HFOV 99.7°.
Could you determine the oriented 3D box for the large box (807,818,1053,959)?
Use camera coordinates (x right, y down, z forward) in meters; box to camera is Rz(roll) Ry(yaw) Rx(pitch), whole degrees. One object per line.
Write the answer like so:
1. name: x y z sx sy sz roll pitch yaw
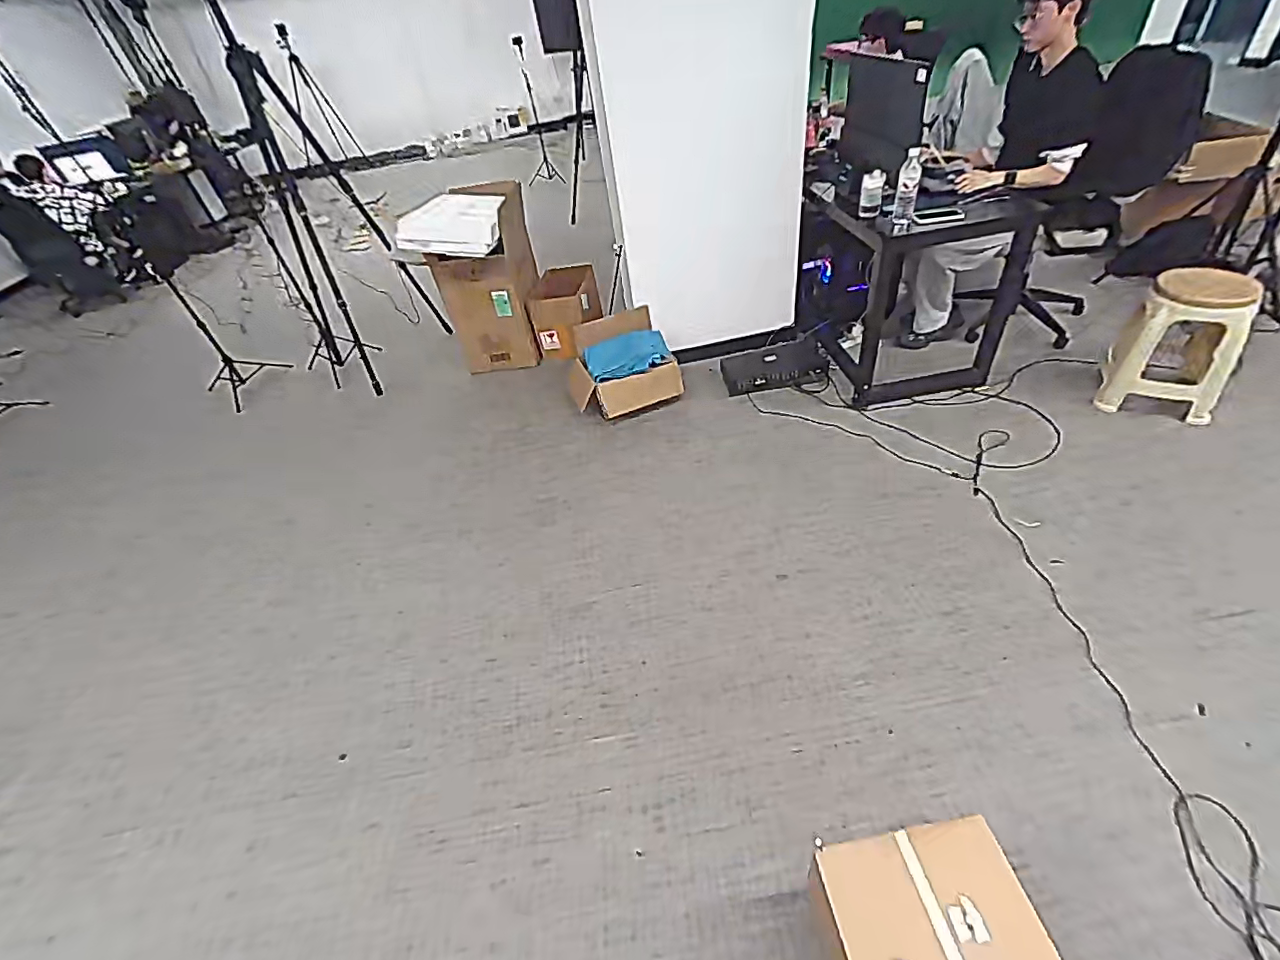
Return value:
1. large box: 0.512 0.882 0.928 0.320 0.320 0.408 -10 40 -1
